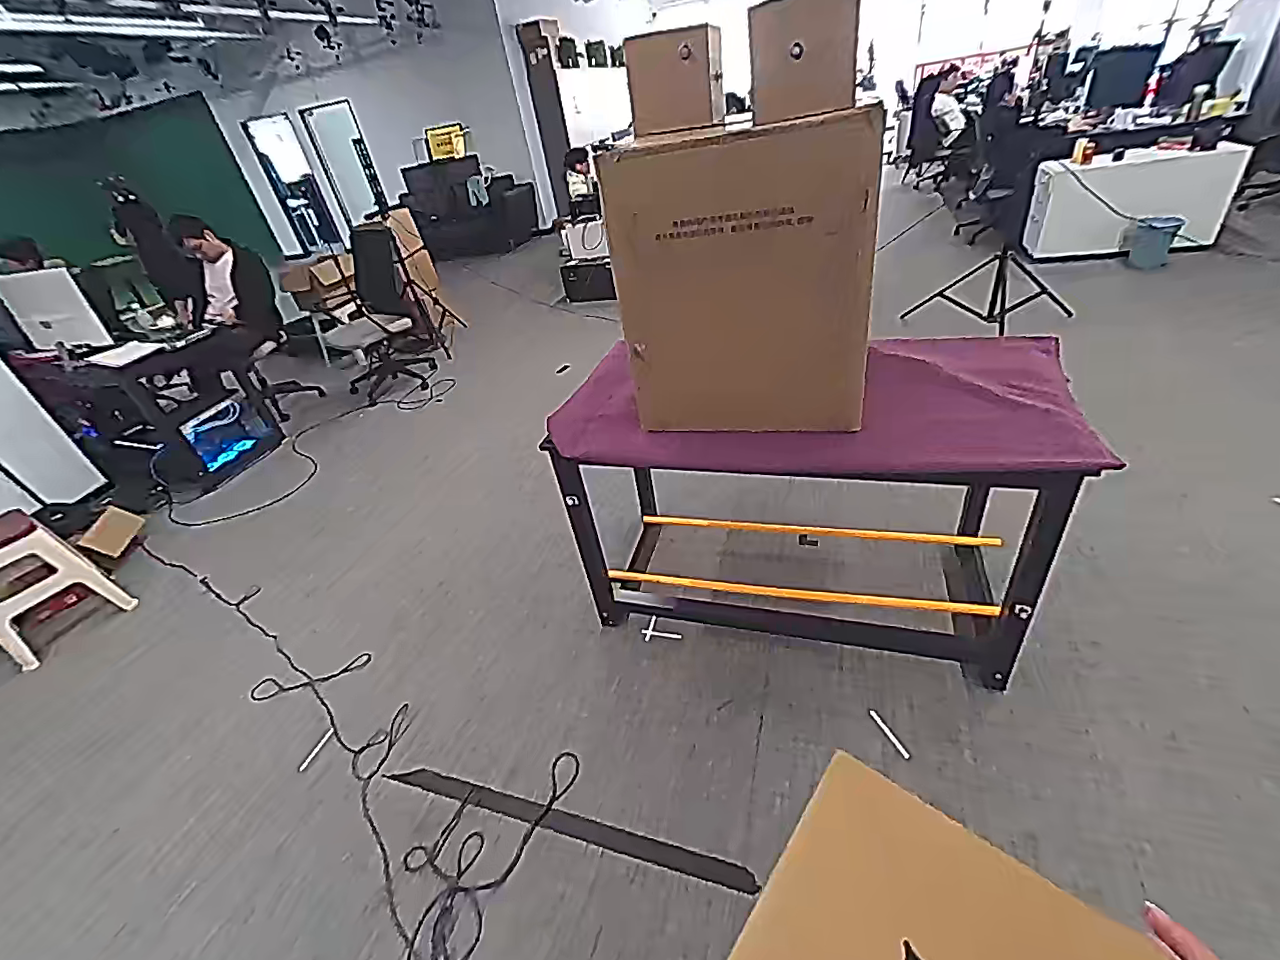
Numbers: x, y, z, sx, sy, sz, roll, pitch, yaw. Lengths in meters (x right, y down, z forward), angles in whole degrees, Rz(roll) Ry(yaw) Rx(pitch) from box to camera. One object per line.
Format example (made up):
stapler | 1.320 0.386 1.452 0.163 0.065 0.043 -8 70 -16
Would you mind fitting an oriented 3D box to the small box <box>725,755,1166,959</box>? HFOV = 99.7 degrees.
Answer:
small box | 0.165 0.317 0.329 0.179 0.176 0.168 23 56 35
